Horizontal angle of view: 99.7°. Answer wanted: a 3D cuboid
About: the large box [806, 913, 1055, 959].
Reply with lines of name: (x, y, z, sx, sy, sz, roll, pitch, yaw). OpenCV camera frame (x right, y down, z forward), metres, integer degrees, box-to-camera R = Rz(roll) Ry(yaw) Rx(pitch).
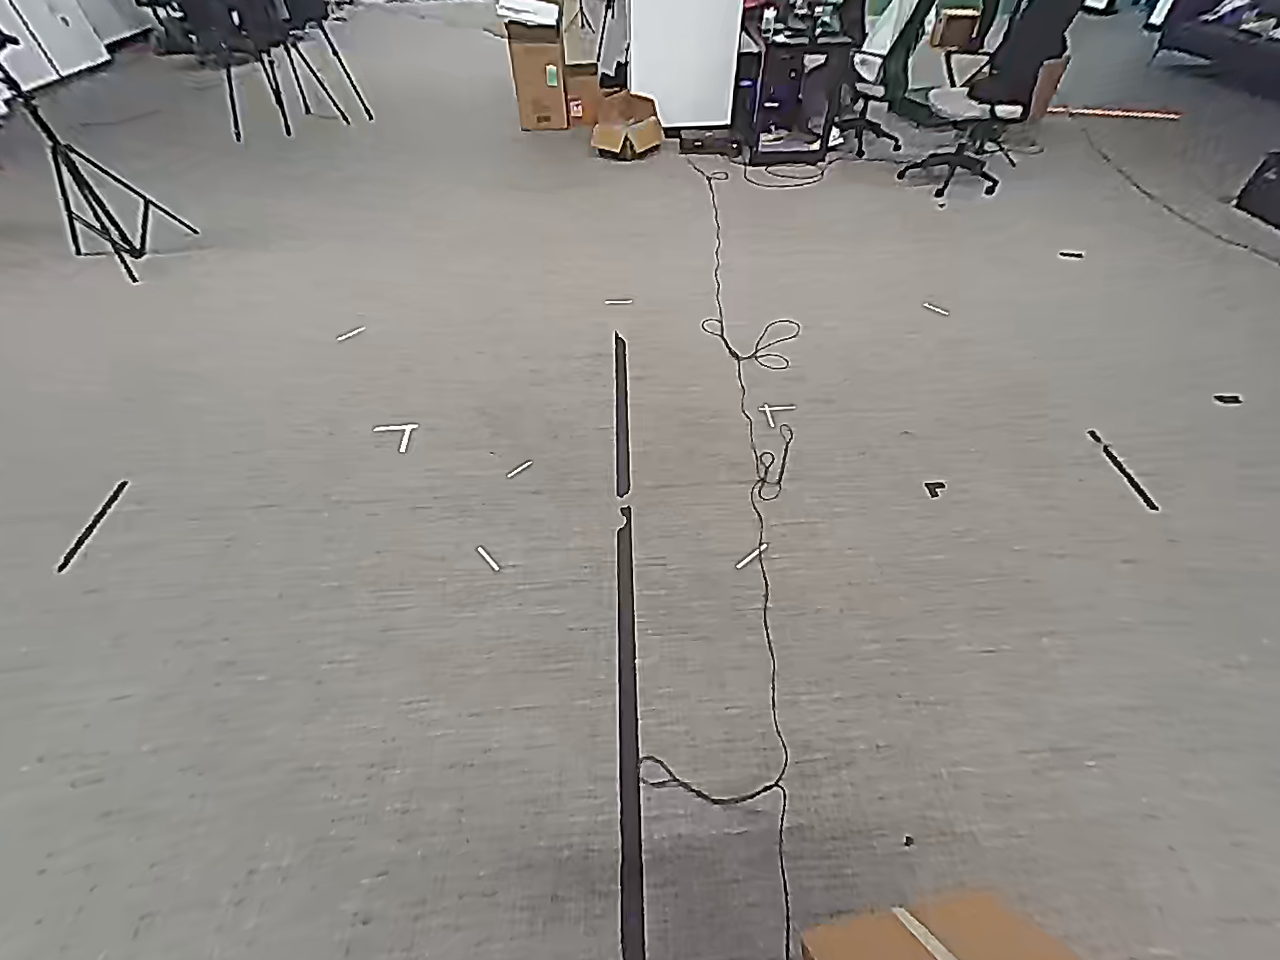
large box: (0.423, 0.772, 0.580, 0.320, 0.408, 0.320, -5, 79, -8)
